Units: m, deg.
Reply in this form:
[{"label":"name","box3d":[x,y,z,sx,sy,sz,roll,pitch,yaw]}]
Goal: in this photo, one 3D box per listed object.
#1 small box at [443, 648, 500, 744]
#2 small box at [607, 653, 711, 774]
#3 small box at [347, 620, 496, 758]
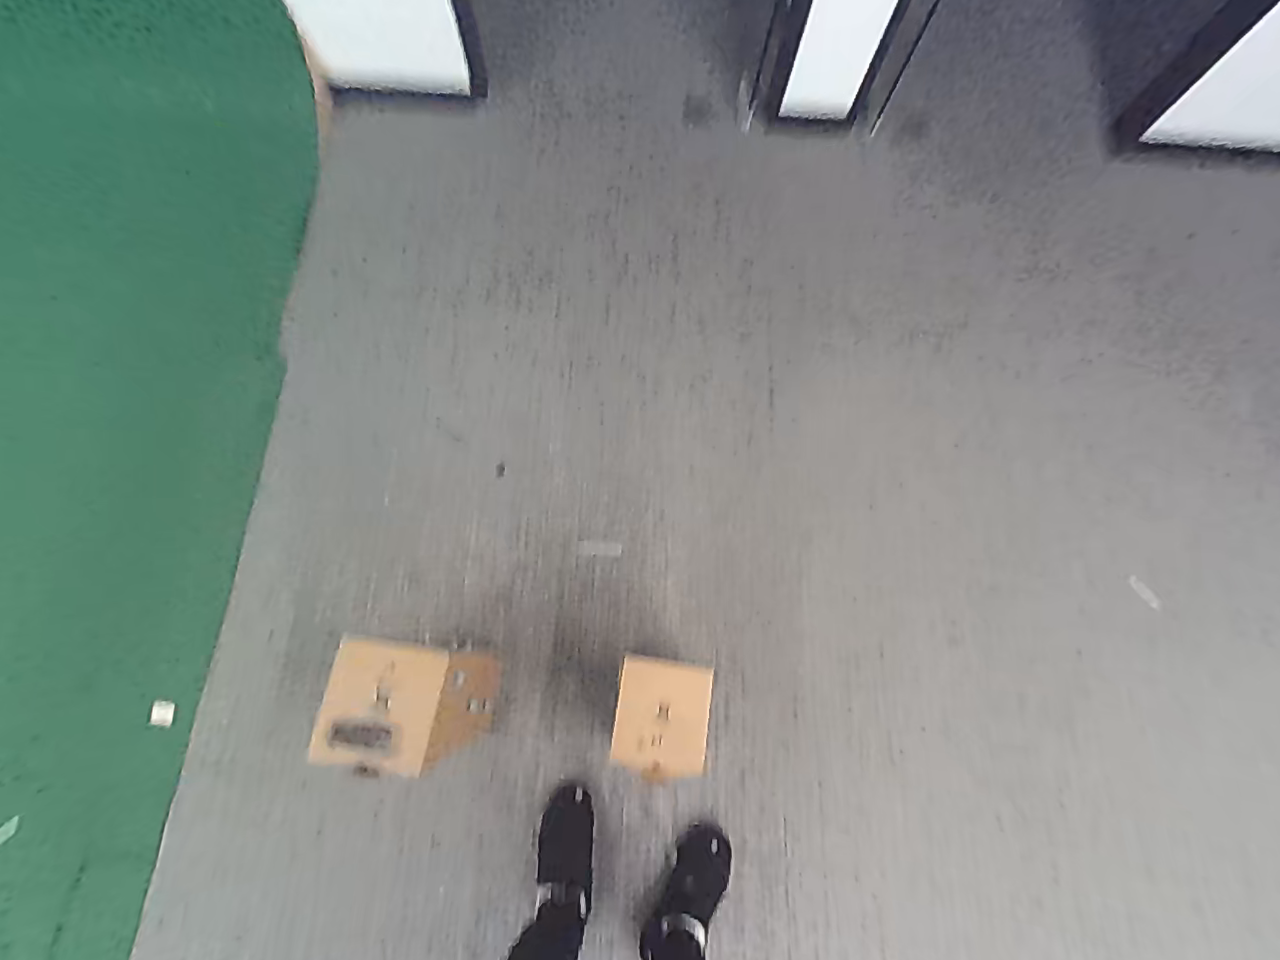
[{"label":"small box","box3d":[-0.413,0.458,1.177,0.168,0.176,0.179,9,71,-1]},{"label":"small box","box3d":[0.032,0.436,1.034,0.168,0.176,0.179,10,72,1]},{"label":"small box","box3d":[-0.406,0.393,1.036,0.179,0.176,0.168,39,76,9]}]
